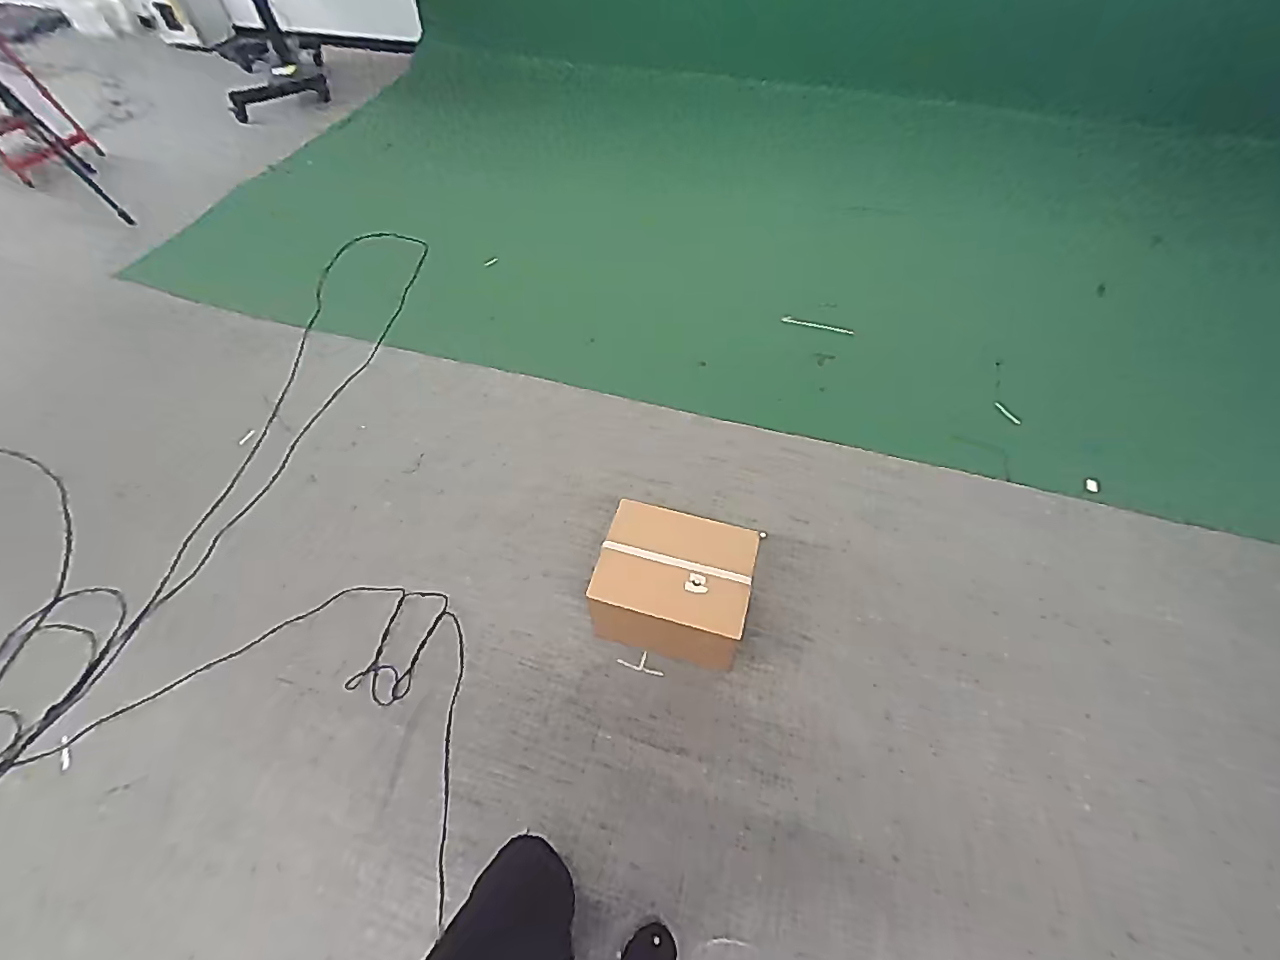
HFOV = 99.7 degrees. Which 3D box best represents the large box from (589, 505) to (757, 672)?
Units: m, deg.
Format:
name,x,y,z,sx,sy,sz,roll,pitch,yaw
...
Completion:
name,x,y,z,sx,sy,sz,roll,pitch,yaw
large box,0.094,0.316,1.563,0.408,0.320,0.320,13,56,9
